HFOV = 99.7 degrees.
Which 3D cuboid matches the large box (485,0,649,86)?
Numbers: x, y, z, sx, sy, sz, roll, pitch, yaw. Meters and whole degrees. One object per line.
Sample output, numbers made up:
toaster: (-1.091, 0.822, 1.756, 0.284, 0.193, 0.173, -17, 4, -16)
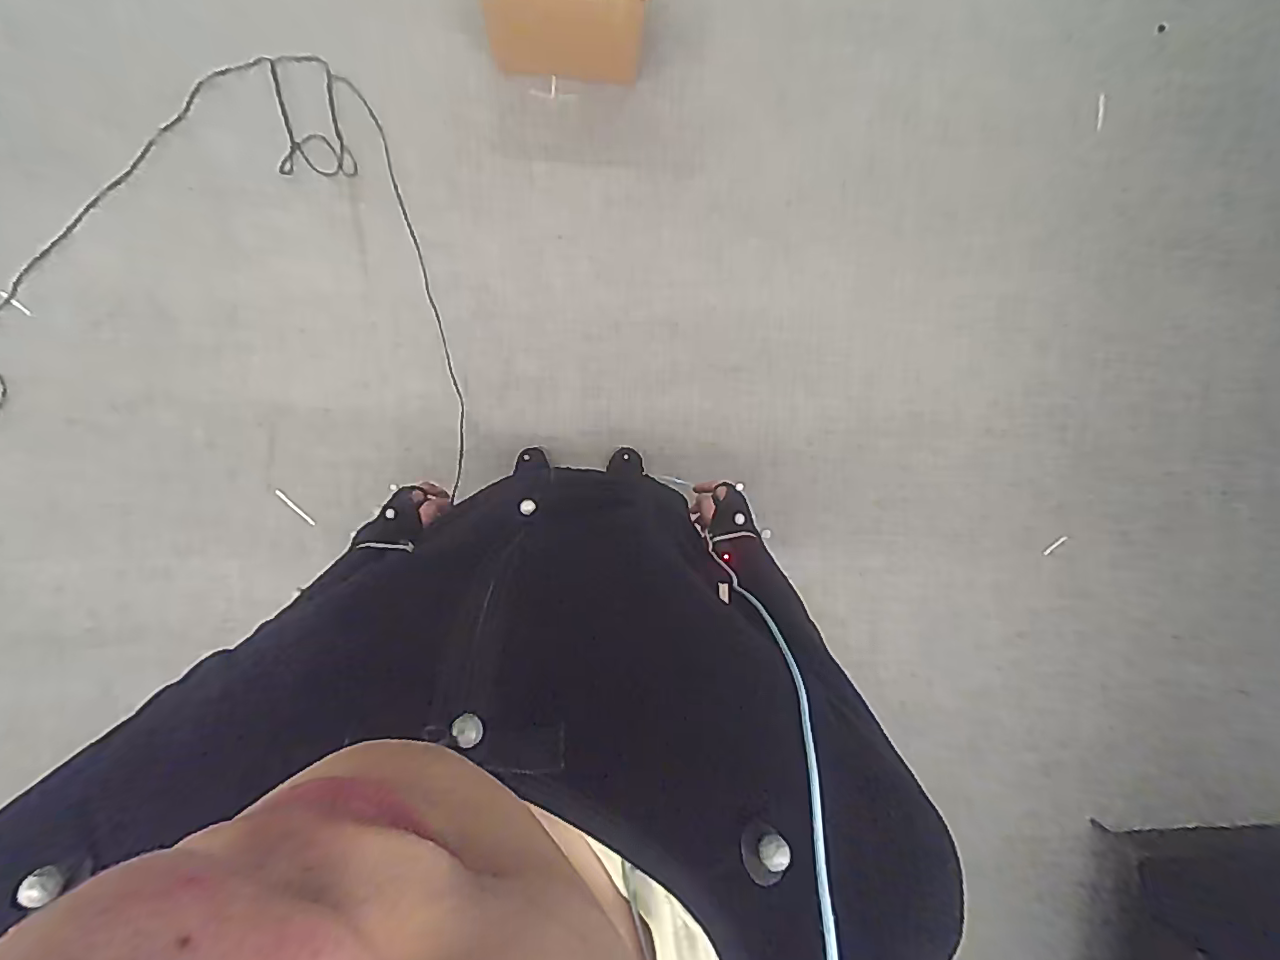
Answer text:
large box: (-0.196, -1.309, 1.430, 0.408, 0.320, 0.320, 0, 93, -7)
